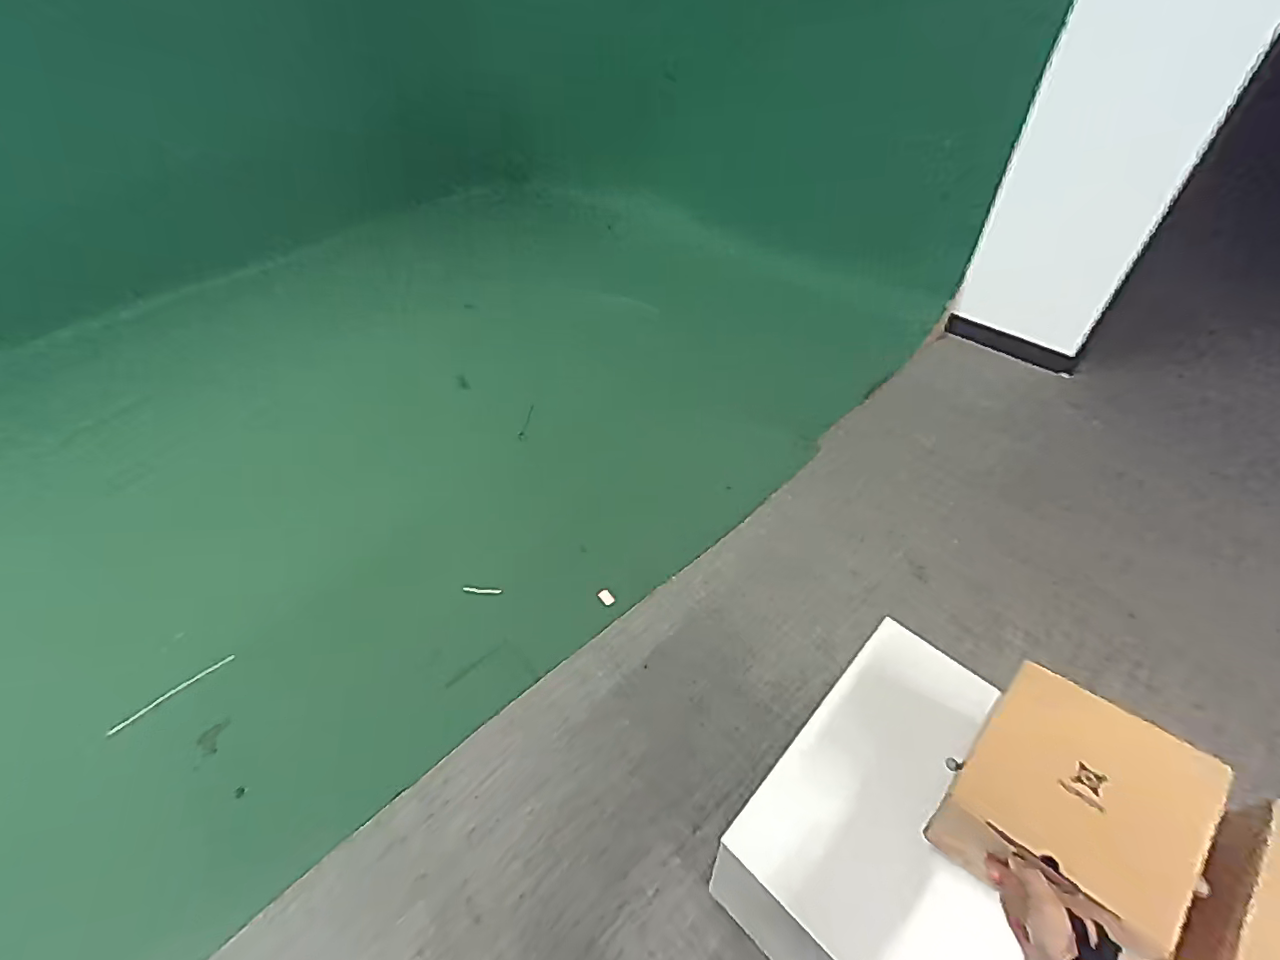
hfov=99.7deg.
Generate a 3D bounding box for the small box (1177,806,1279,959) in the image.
[{"bbox_3d":[0.581,0.436,0.472,0.168,0.176,0.179,35,59,30],"label":"small box"}]

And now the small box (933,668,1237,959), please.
[{"bbox_3d":[0.423,0.334,0.543,0.179,0.176,0.168,-41,50,-22],"label":"small box"}]
